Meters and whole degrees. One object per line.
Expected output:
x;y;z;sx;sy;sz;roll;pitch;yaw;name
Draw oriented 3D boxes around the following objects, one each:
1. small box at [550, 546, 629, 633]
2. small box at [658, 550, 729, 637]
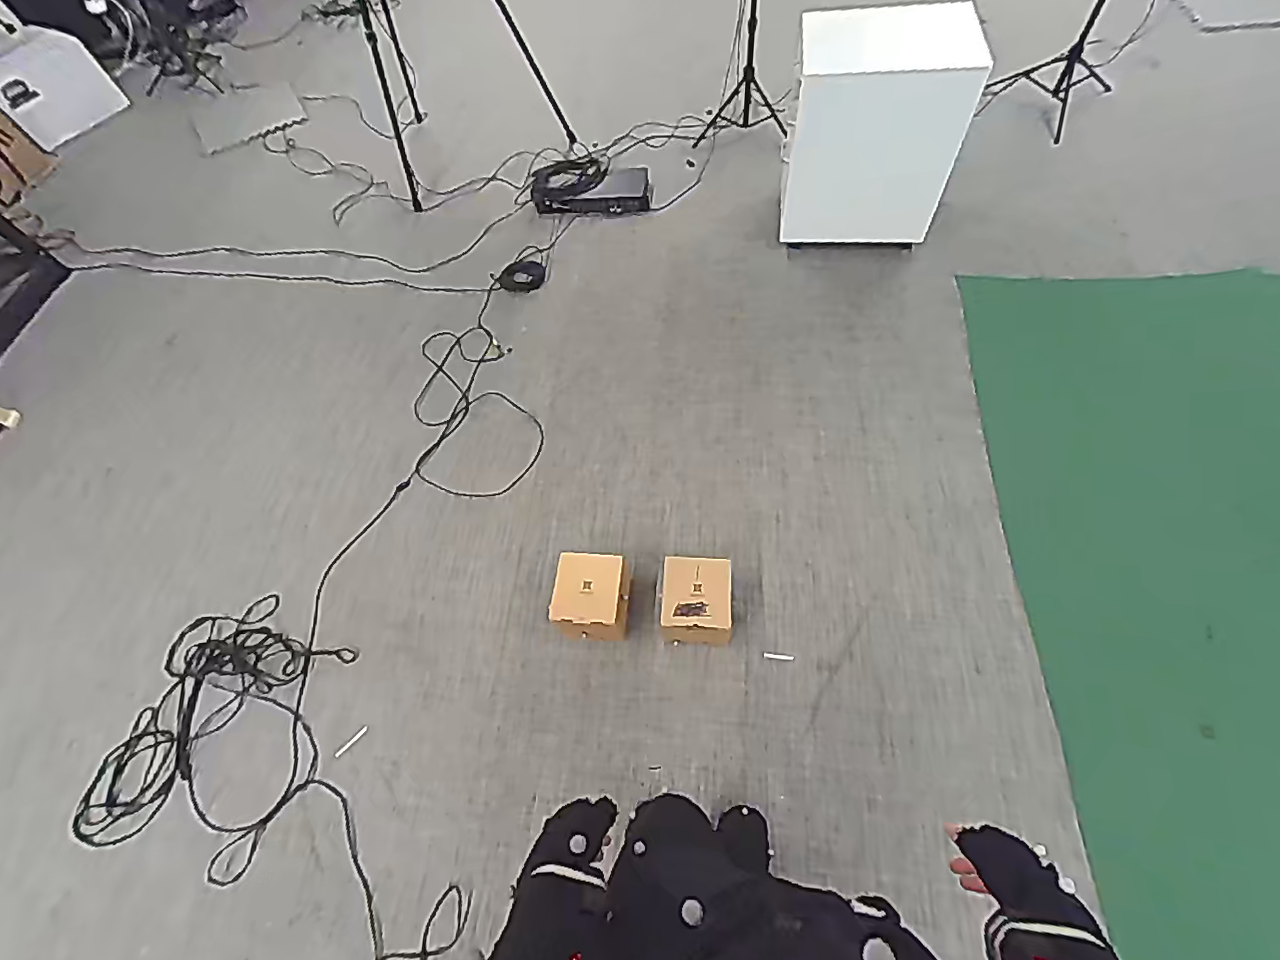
-0.123;0.287;1.409;0.168;0.176;0.179;2;61;8;small box
0.140;0.292;1.373;0.168;0.176;0.179;2;60;8;small box
